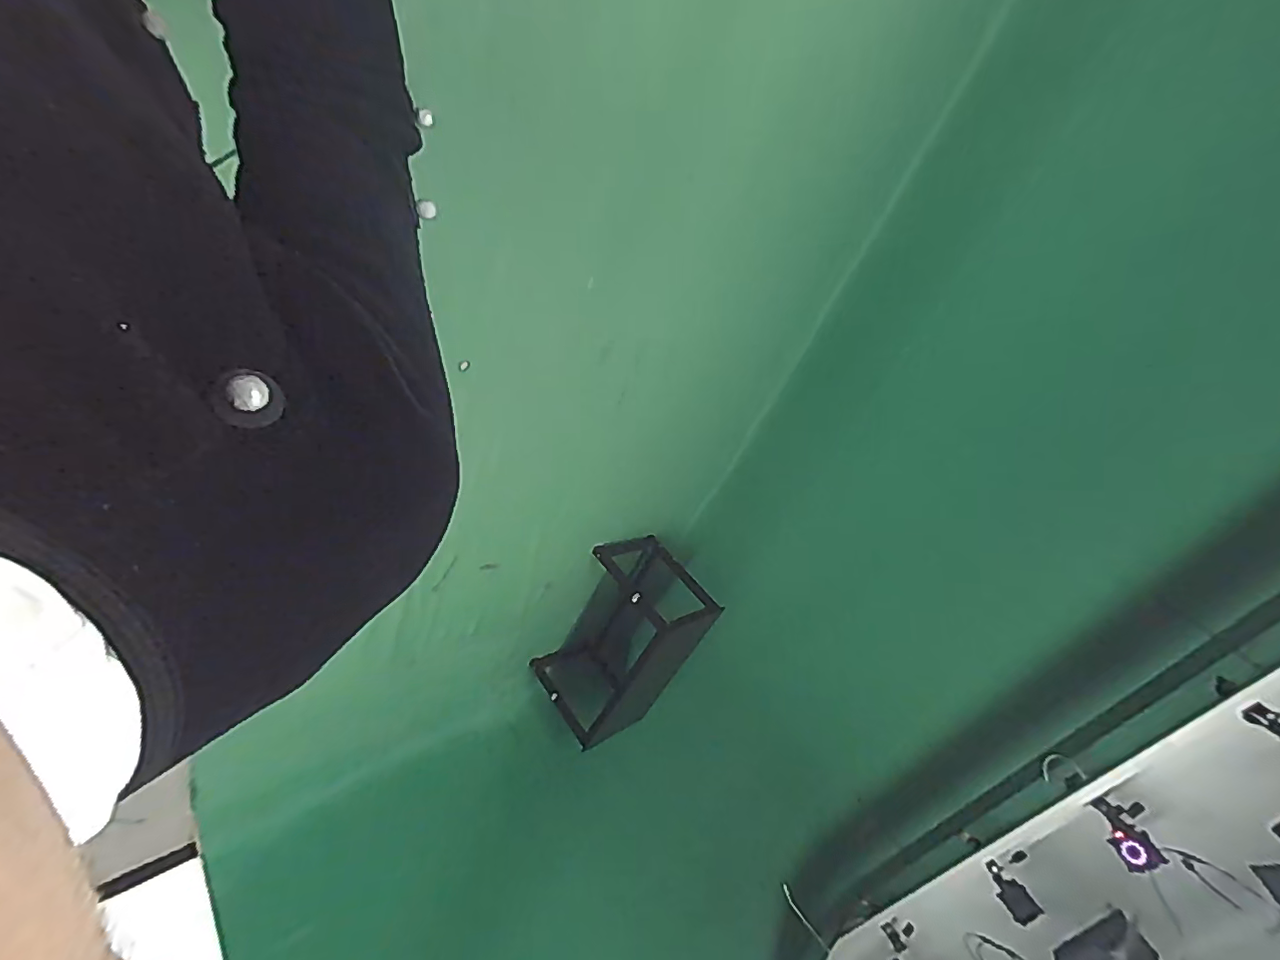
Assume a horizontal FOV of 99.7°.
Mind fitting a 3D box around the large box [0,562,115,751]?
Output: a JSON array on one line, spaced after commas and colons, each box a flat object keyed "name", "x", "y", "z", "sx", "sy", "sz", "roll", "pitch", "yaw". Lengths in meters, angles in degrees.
[{"name": "large box", "x": -1.738, "y": 0.497, "z": 1.415, "sx": 0.408, "sy": 0.320, "sz": 0.320, "roll": -34, "pitch": 150, "yaw": -21}]
